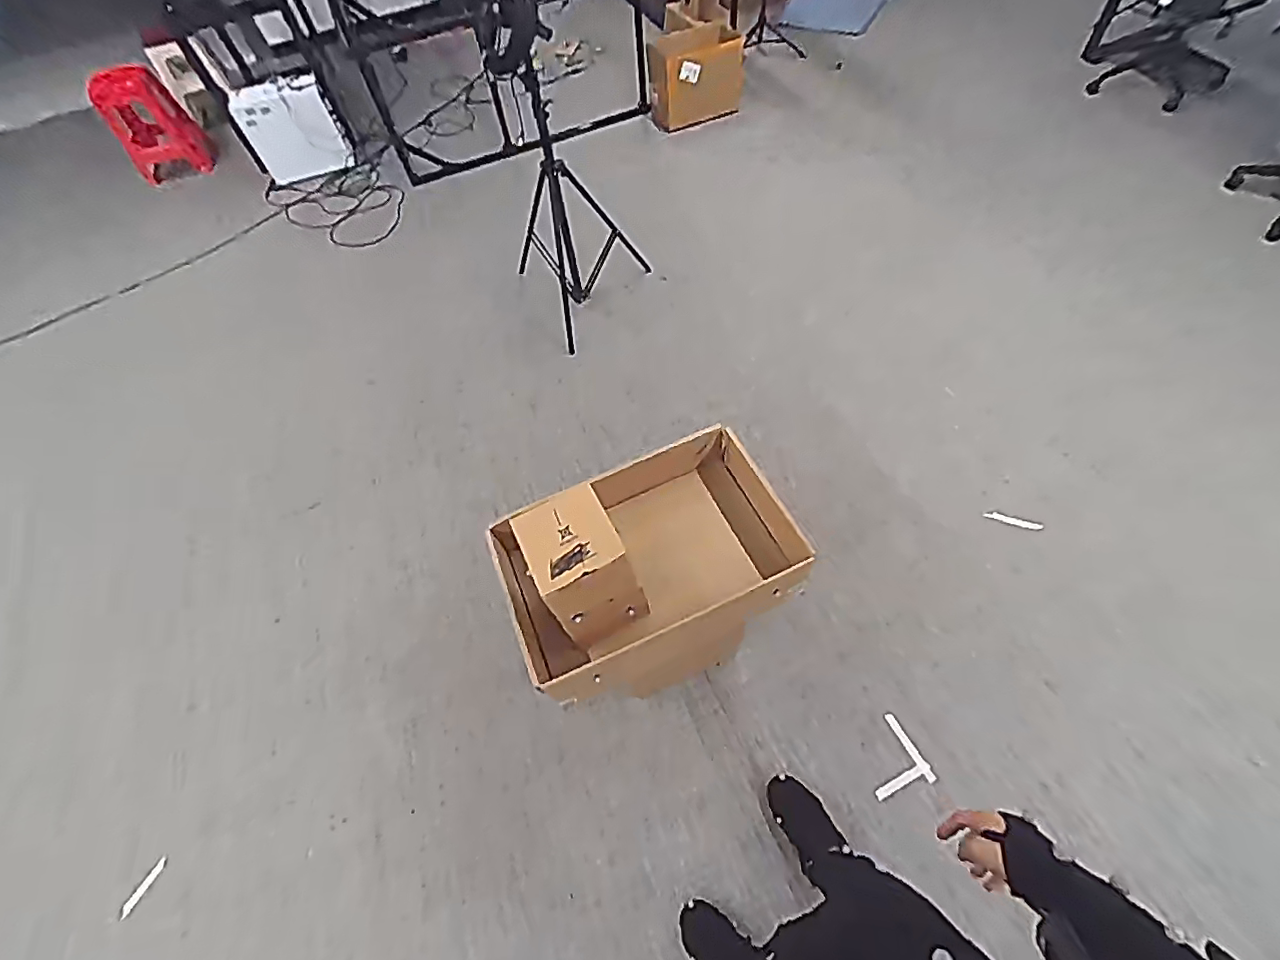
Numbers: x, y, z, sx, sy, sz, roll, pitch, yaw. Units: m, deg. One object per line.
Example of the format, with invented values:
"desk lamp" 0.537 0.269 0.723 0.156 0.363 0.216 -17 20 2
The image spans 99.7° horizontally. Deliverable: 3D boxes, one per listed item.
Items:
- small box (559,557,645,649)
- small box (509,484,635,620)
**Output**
"small box" -0.100 0.235 1.162 0.179 0.176 0.168 -28 59 -9
"small box" -0.123 0.146 1.026 0.168 0.176 0.179 -26 57 -9
